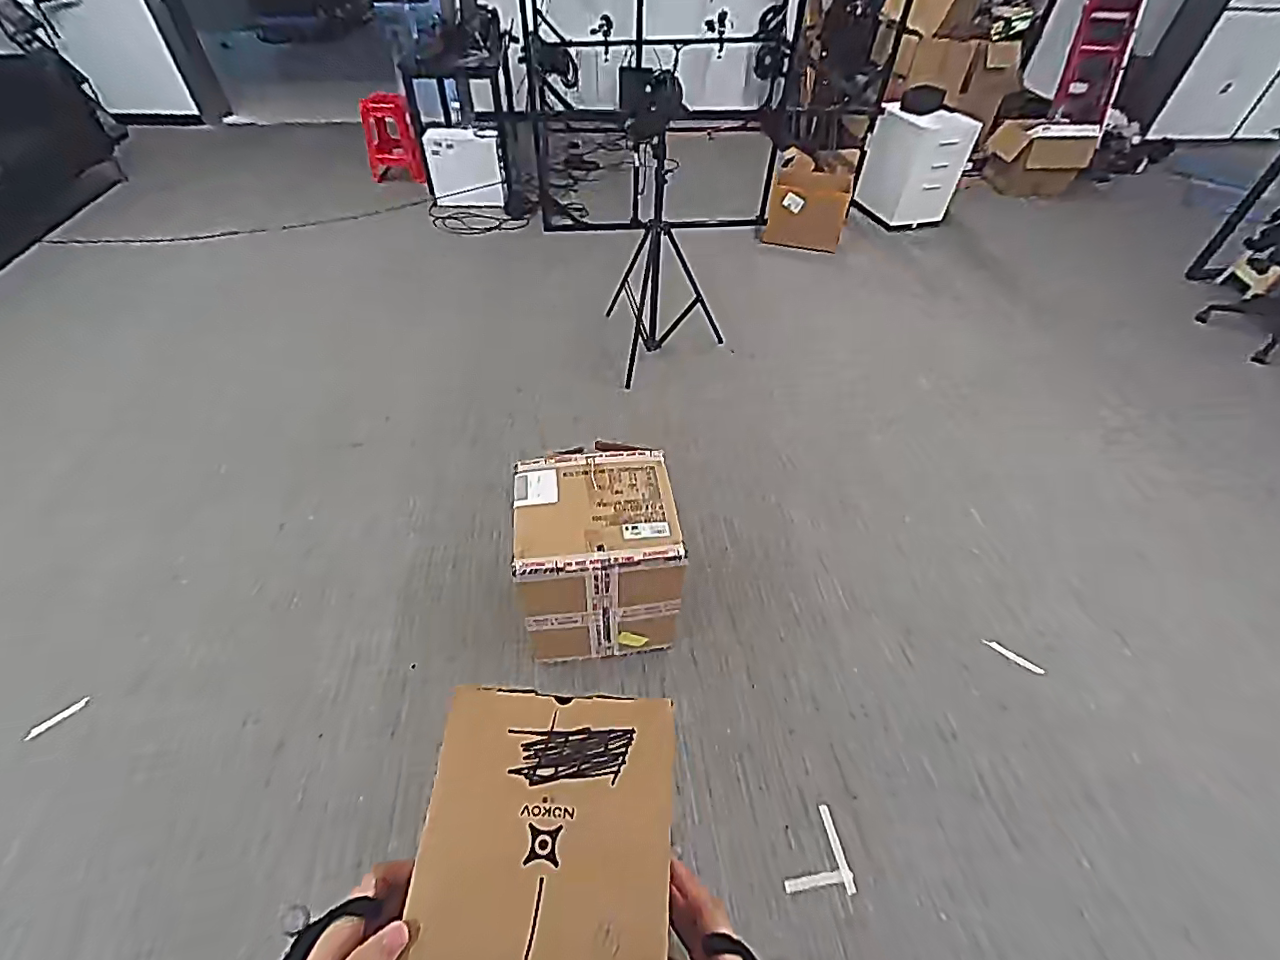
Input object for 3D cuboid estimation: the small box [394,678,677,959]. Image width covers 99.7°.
[{"bbox_3d":[-0.062,0.273,0.428,0.168,0.176,0.179,4,56,1],"label":"small box"}]
